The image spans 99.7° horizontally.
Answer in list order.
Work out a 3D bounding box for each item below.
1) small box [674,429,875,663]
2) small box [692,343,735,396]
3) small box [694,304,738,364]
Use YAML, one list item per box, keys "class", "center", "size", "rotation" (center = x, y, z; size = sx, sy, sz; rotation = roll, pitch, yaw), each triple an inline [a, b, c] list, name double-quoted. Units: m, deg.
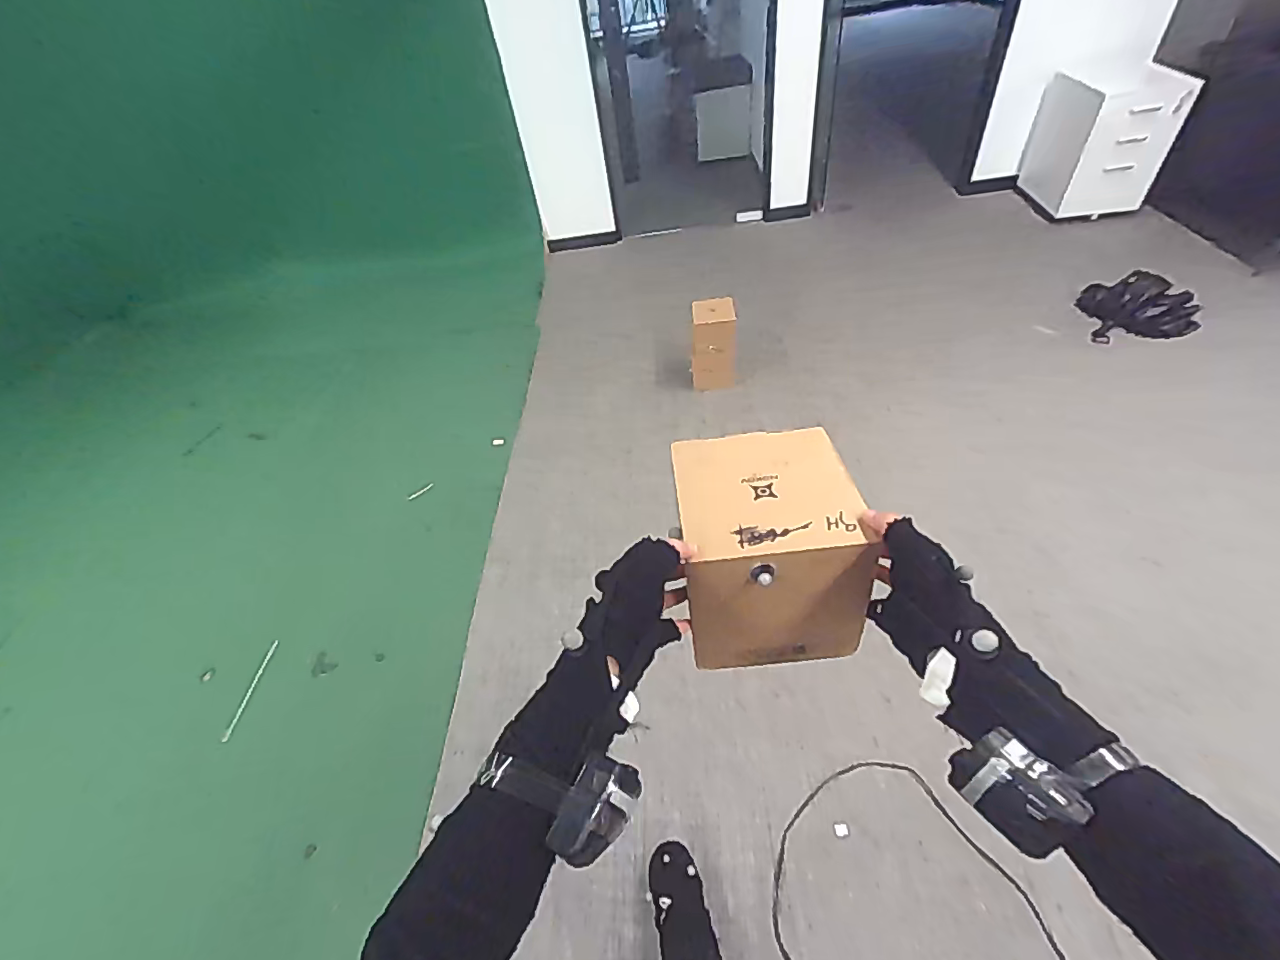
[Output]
- class: "small box"
  center: [0.127, 0.067, 0.577]
  size: [0.168, 0.176, 0.179]
  rotation: [-7, 38, 3]
- class: "small box"
  center: [0.322, -0.486, 2.352]
  size: [0.179, 0.176, 0.168]
  rotation: [-5, 45, 8]
- class: "small box"
  center: [0.315, -0.604, 2.243]
  size: [0.168, 0.176, 0.179]
  rotation: [-6, 46, 8]
